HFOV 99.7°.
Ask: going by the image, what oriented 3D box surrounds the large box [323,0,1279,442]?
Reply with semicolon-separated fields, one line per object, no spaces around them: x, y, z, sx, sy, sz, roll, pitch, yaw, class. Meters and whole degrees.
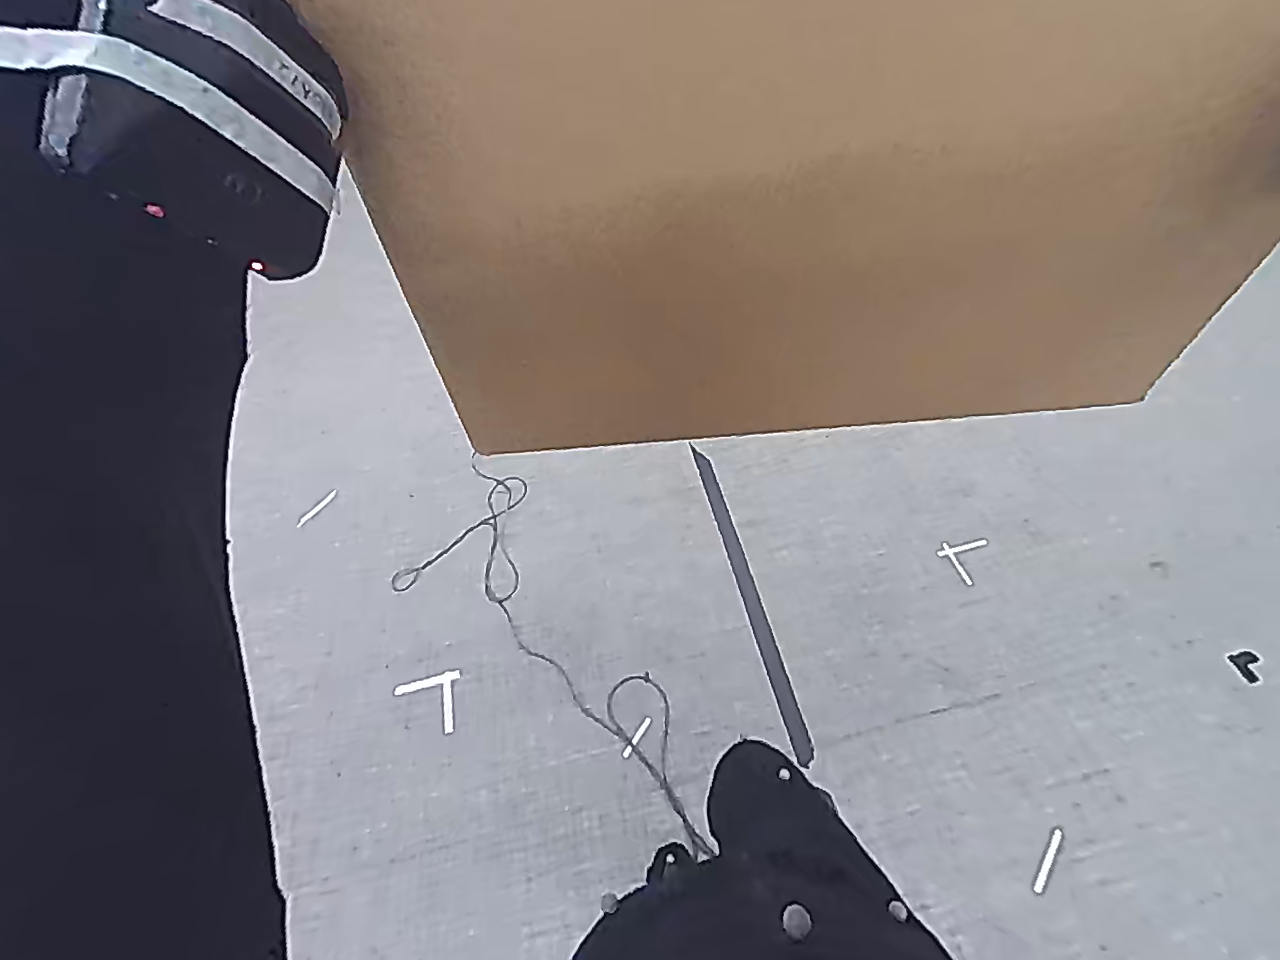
0.080;-0.248;0.323;0.408;0.320;0.320;-5;50;-1;large box
